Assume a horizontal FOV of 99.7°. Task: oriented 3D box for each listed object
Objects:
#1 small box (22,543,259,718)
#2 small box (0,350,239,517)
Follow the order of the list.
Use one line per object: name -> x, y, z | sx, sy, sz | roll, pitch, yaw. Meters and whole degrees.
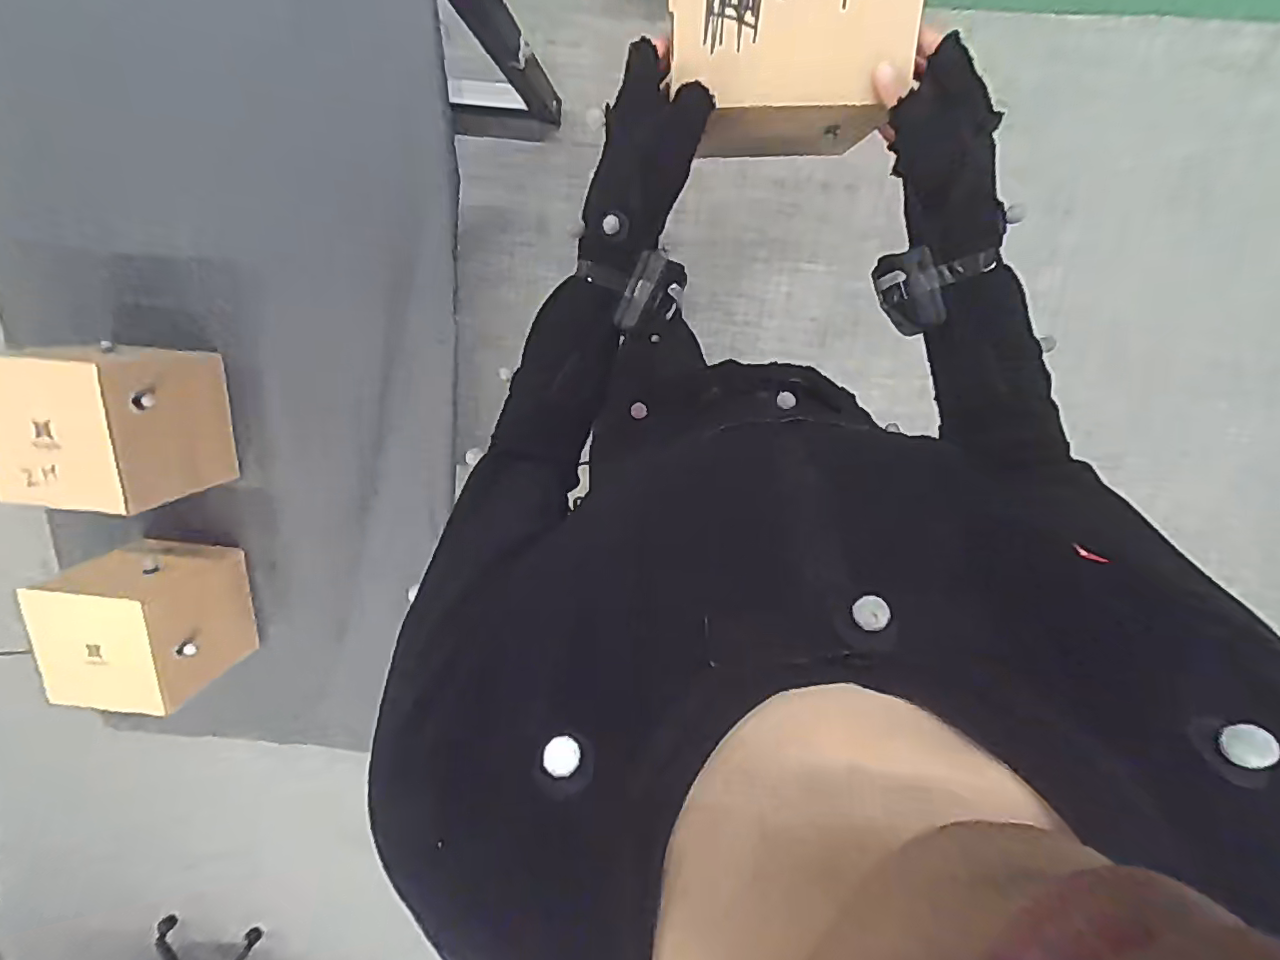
small box -> -0.687, 0.203, 0.769 | 0.168, 0.176, 0.179 | 5, 108, 3
small box -> -0.655, -0.068, 0.682 | 0.168, 0.176, 0.179 | 5, 107, 4
